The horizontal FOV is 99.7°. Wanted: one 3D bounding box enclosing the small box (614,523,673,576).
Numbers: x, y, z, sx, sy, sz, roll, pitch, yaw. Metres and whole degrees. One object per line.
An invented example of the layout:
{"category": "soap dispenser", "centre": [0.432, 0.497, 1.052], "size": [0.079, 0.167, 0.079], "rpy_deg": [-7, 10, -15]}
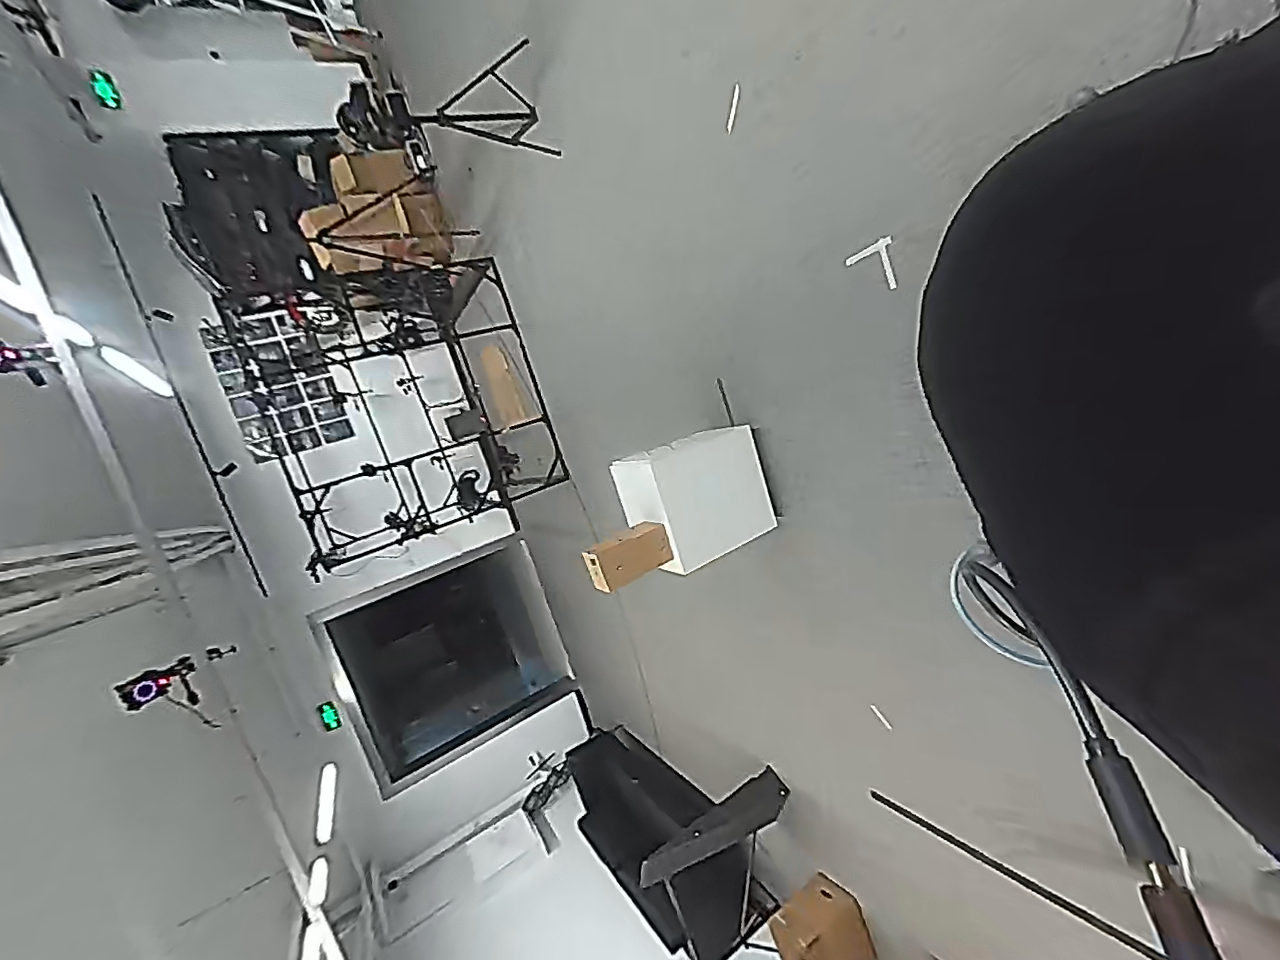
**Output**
{"category": "small box", "centre": [0.017, 0.295, 2.345], "size": [0.179, 0.176, 0.168], "rpy_deg": [2, 112, 62]}

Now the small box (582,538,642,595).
{"category": "small box", "centre": [-0.117, 0.357, 2.274], "size": [0.168, 0.176, 0.179], "rpy_deg": [-6, 106, 64]}
